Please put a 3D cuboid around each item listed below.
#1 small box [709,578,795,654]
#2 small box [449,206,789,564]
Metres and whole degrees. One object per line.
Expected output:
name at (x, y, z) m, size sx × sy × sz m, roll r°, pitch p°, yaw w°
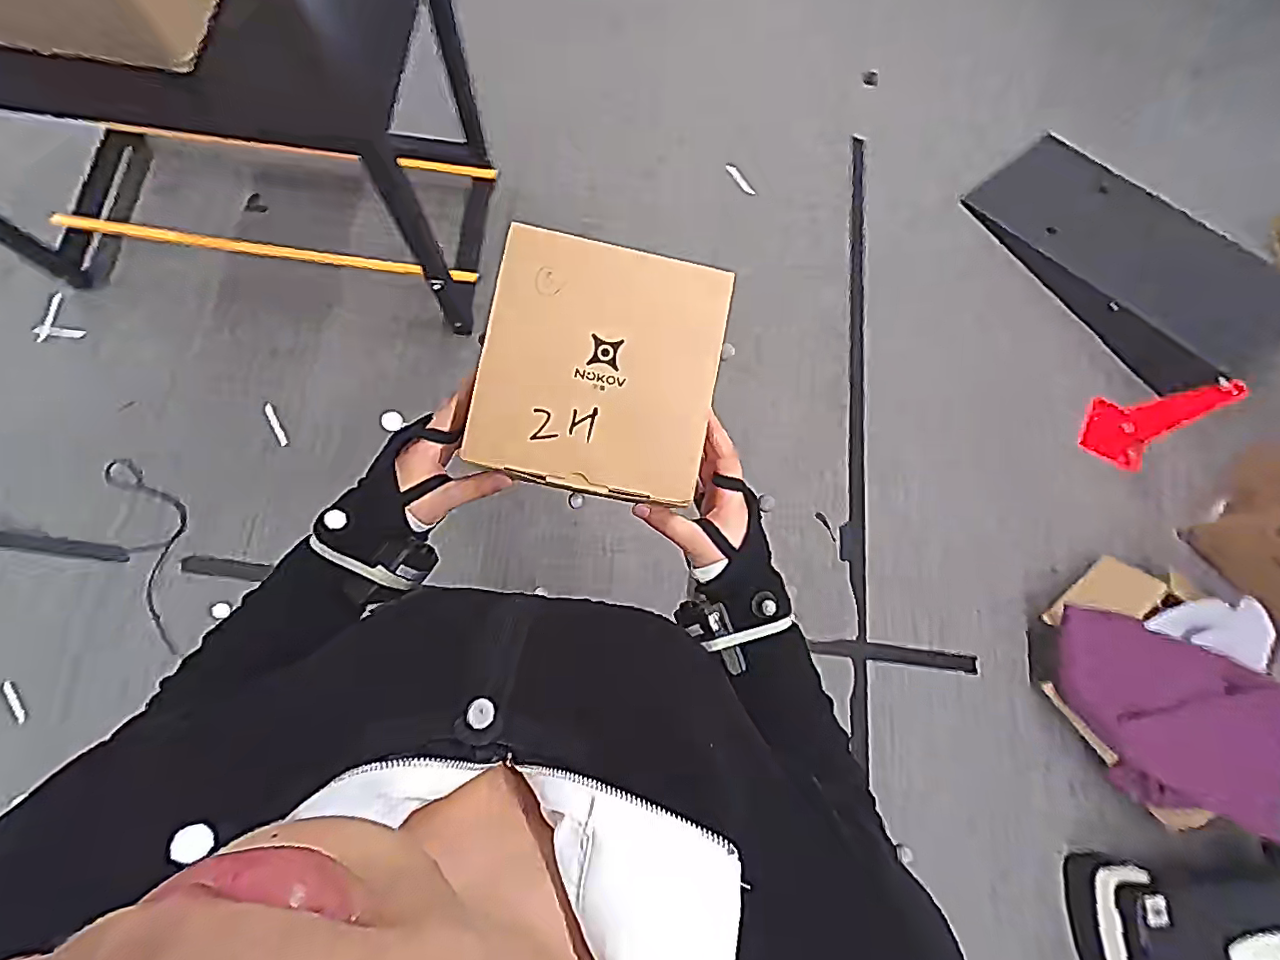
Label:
small box at (0.279, 0.341, 1.369) m, size 0.179 × 0.176 × 0.168 m, roll 5°, pitch 75°, yaw -1°
small box at (-0.015, -0.048, 0.376) m, size 0.168 × 0.176 × 0.179 m, roll 10°, pitch 86°, yaw -4°
